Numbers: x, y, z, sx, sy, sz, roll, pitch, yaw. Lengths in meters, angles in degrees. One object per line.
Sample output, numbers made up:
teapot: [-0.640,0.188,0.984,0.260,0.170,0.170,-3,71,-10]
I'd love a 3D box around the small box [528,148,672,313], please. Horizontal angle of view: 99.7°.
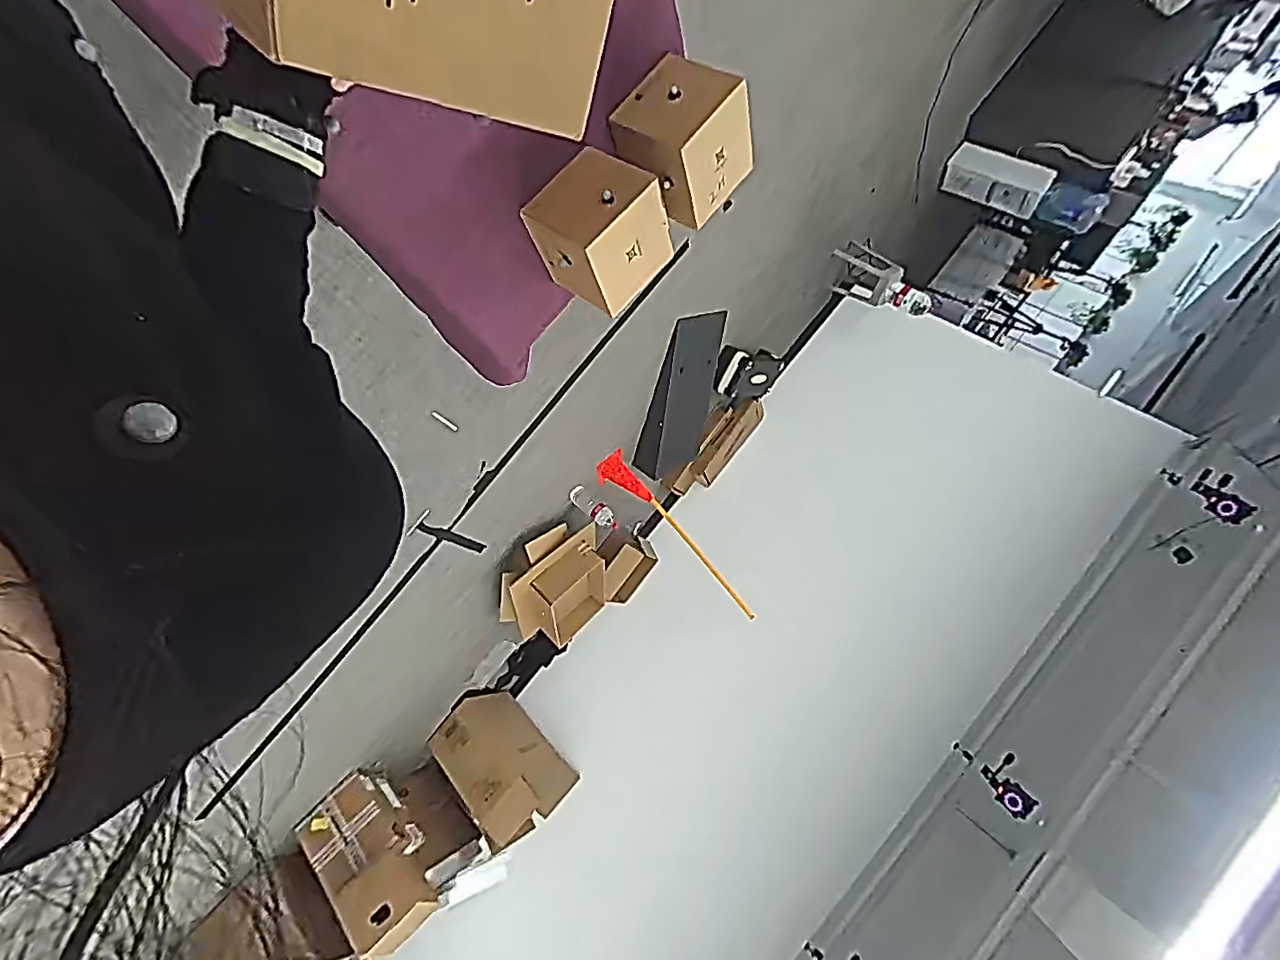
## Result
small box: [-0.072,-0.437,0.948,0.179,0.176,0.168,-49,155,-9]

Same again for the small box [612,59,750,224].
small box: [0.074,-0.605,0.962,0.168,0.176,0.179,-49,157,-5]
